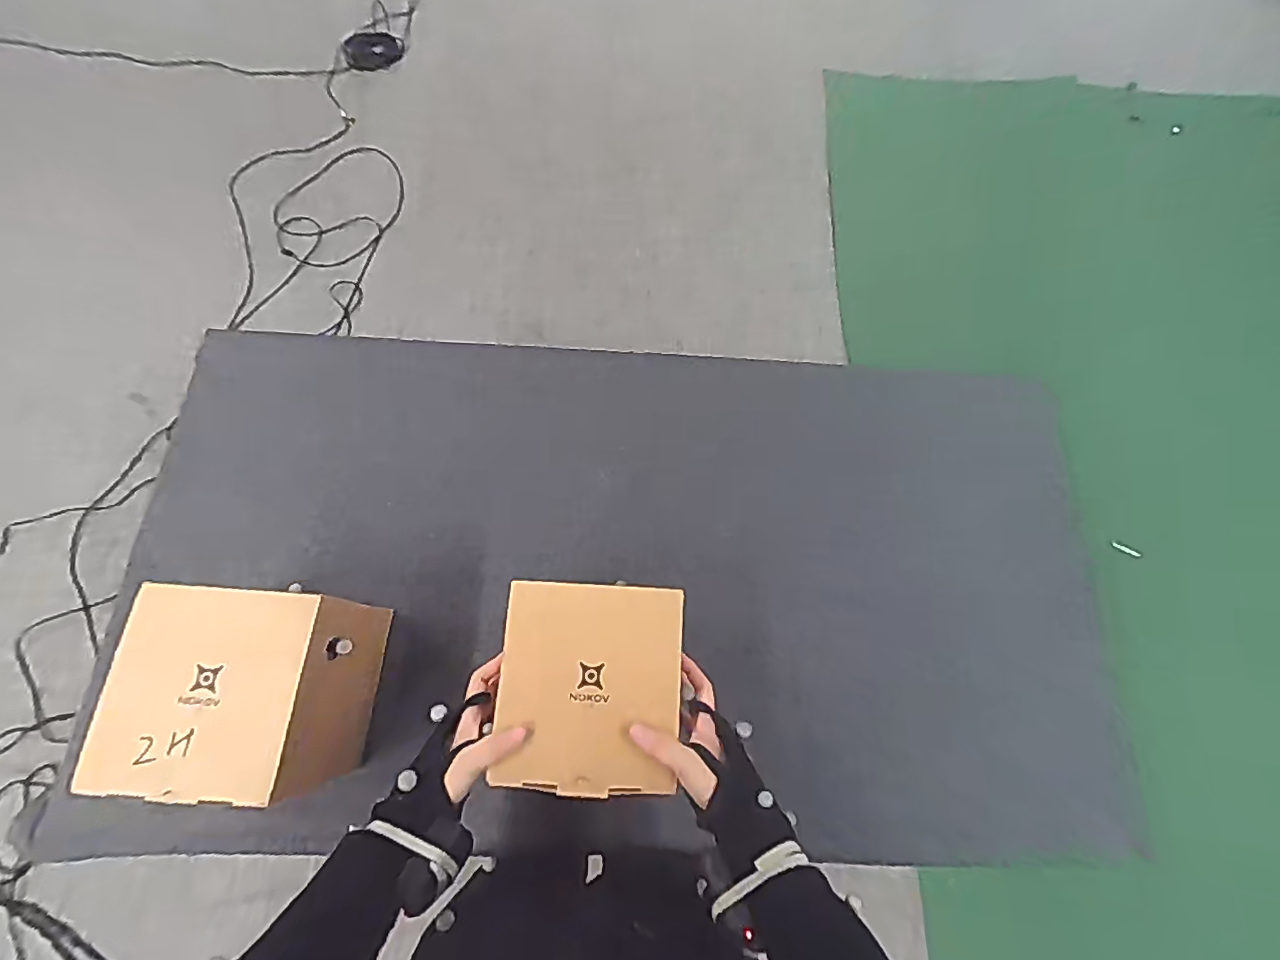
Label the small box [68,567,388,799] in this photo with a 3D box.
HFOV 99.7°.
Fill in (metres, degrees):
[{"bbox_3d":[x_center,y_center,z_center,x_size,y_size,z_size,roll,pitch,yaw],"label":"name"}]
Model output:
[{"bbox_3d":[-0.373,0.193,0.535,0.168,0.176,0.179,5,71,-1],"label":"small box"}]
